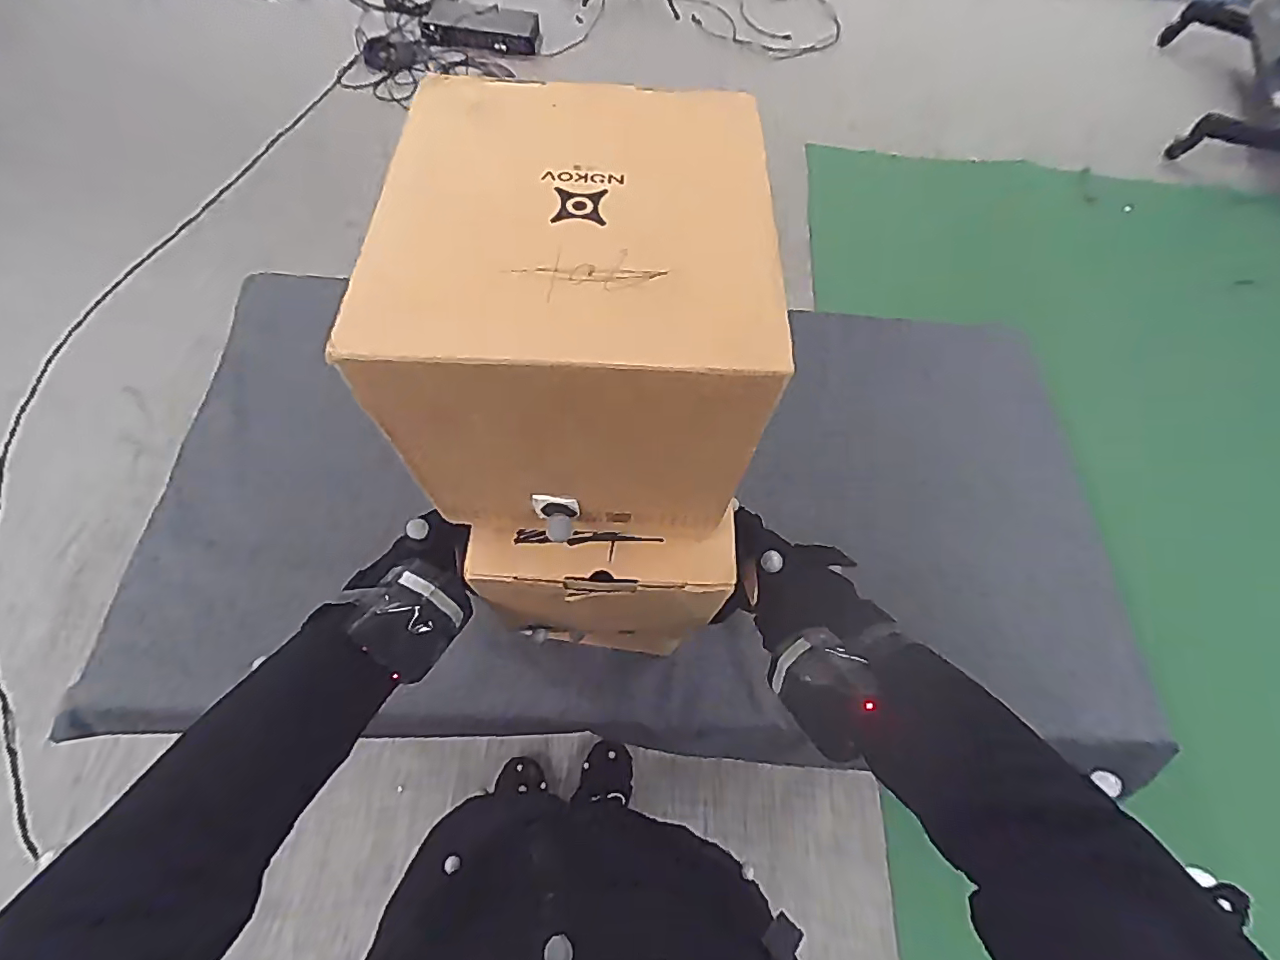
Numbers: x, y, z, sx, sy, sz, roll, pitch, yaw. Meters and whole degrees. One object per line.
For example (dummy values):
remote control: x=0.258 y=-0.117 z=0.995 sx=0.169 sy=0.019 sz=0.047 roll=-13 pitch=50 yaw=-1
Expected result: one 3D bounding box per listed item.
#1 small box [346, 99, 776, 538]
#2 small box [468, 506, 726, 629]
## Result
small box: x=-0.031 y=-0.079 z=0.312 sx=0.168 sy=0.176 sz=0.179 roll=1 pitch=64 yaw=-1
small box: x=-0.029 y=0.024 z=0.442 sx=0.168 sy=0.176 sz=0.179 roll=0 pitch=65 yaw=-3
